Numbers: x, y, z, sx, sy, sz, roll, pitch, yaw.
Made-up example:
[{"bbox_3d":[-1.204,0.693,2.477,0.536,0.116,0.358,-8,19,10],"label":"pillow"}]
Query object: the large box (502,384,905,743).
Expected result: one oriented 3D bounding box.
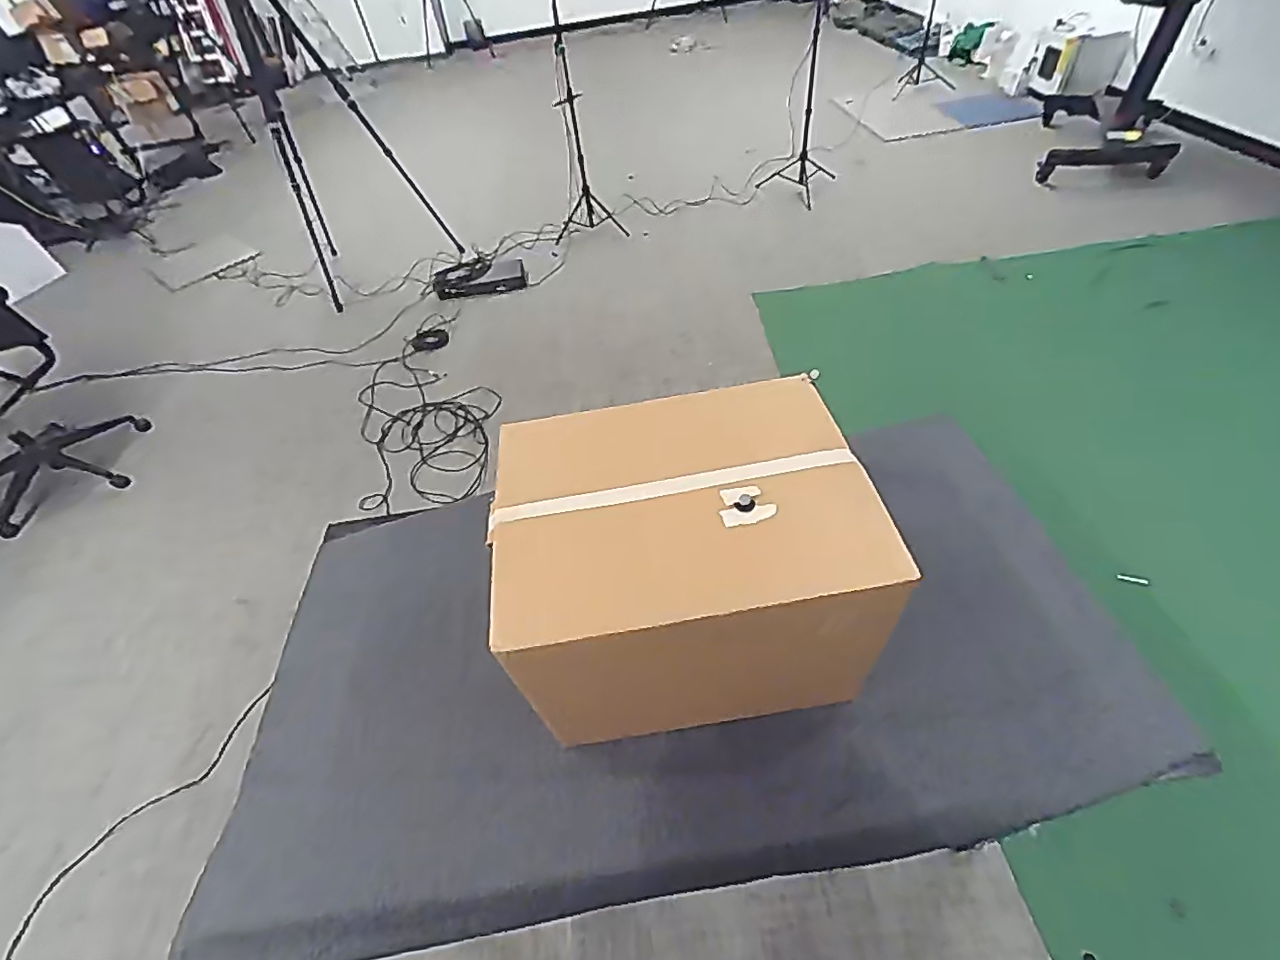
[{"bbox_3d":[0.055,0.115,0.723,0.408,0.320,0.320,-10,49,-1],"label":"large box"}]
